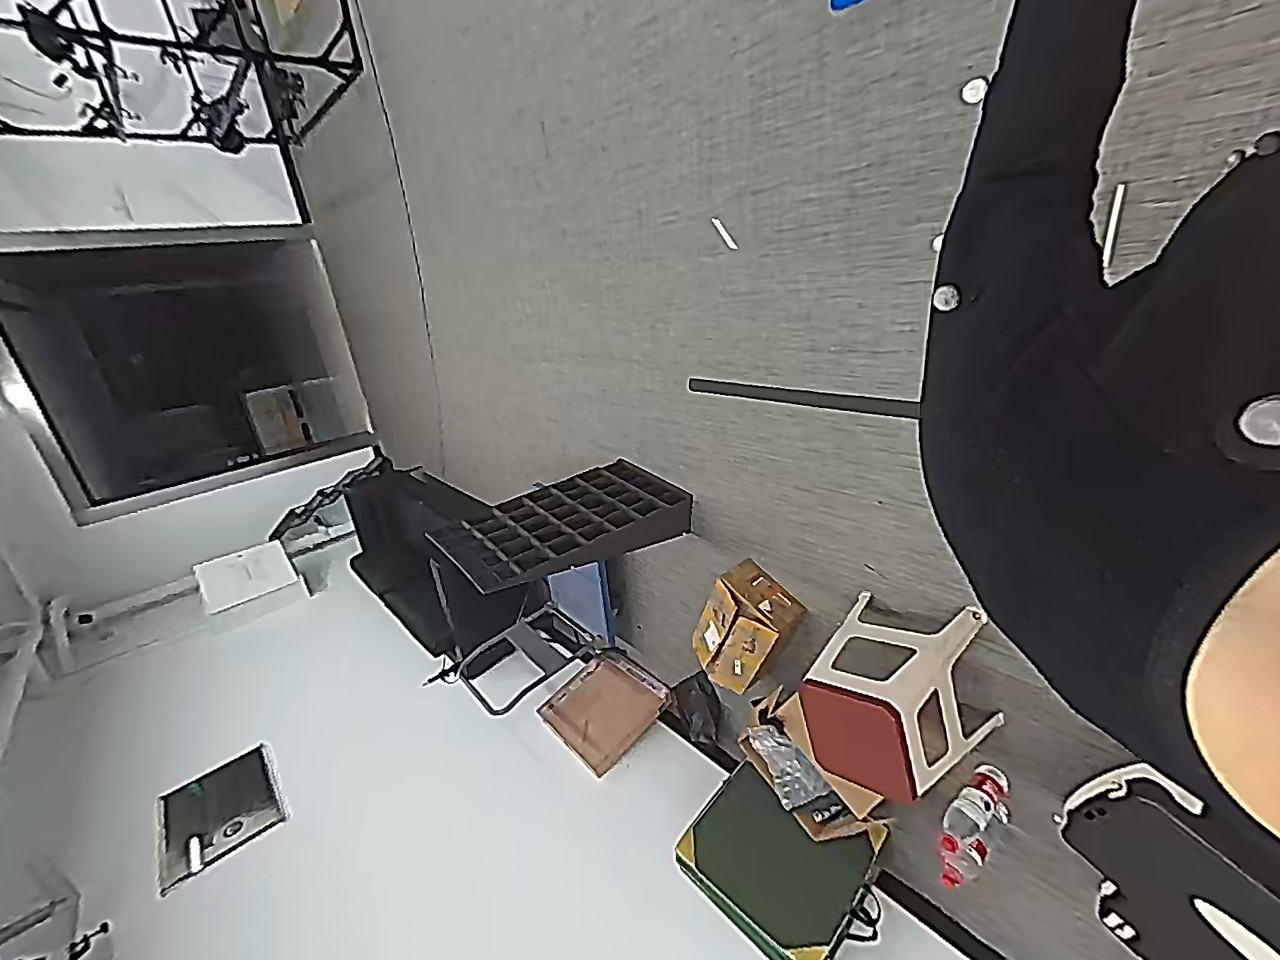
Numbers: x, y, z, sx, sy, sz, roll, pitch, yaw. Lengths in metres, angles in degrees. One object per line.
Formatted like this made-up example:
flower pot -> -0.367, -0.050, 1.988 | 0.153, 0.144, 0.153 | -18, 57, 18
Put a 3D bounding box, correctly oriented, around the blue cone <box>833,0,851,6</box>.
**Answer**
blue cone -> 0.397, -1.178, 1.143 | 0.192, 0.380, 0.193 | 23, 126, 46
